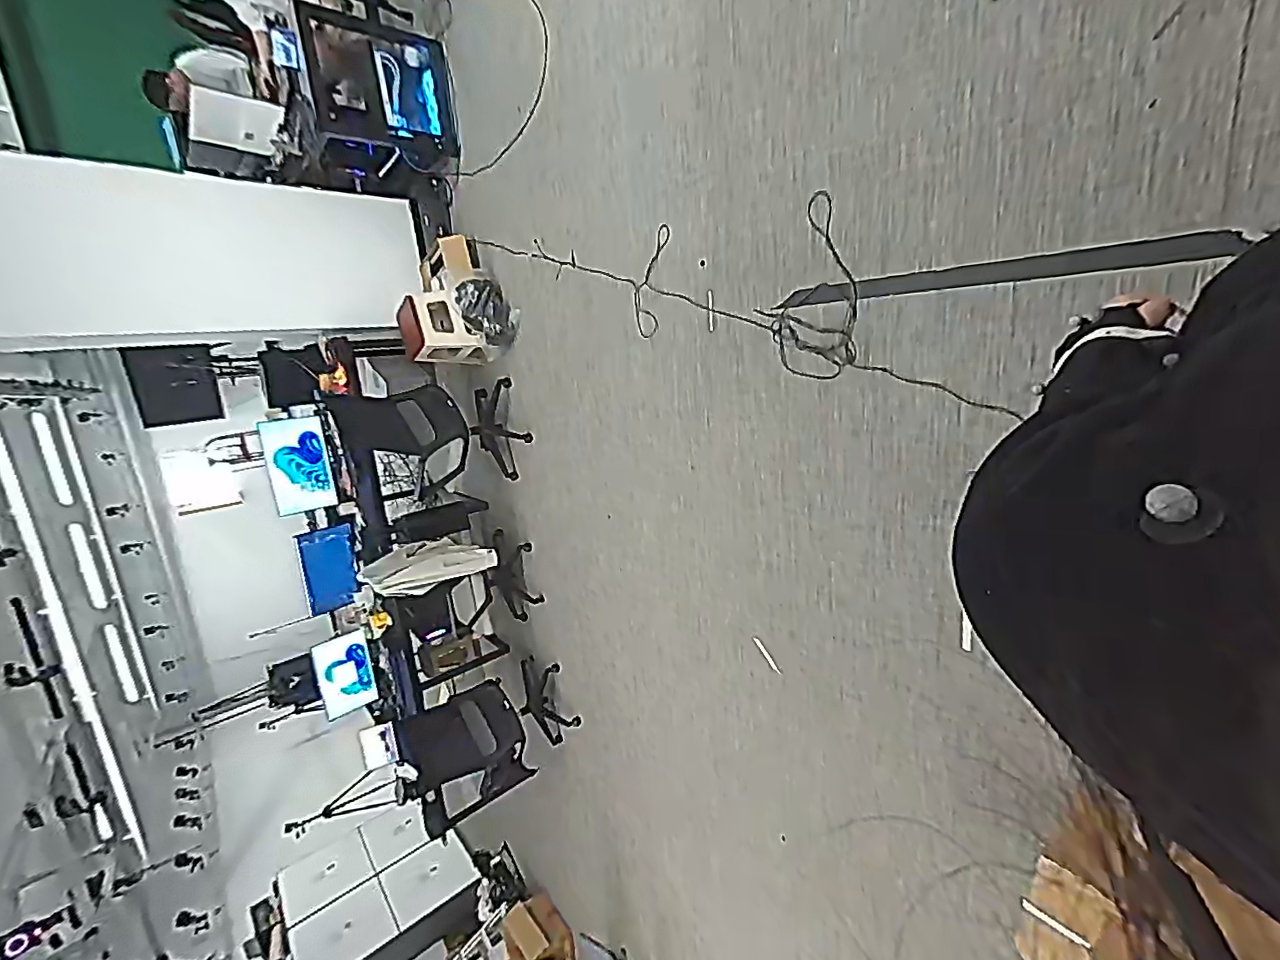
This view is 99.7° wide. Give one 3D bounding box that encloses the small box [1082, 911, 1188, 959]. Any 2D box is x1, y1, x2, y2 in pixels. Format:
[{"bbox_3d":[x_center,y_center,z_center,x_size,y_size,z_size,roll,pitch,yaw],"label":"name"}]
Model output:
[{"bbox_3d":[0.953,0.988,1.025,0.179,0.176,0.168,23,119,46],"label":"small box"}]
